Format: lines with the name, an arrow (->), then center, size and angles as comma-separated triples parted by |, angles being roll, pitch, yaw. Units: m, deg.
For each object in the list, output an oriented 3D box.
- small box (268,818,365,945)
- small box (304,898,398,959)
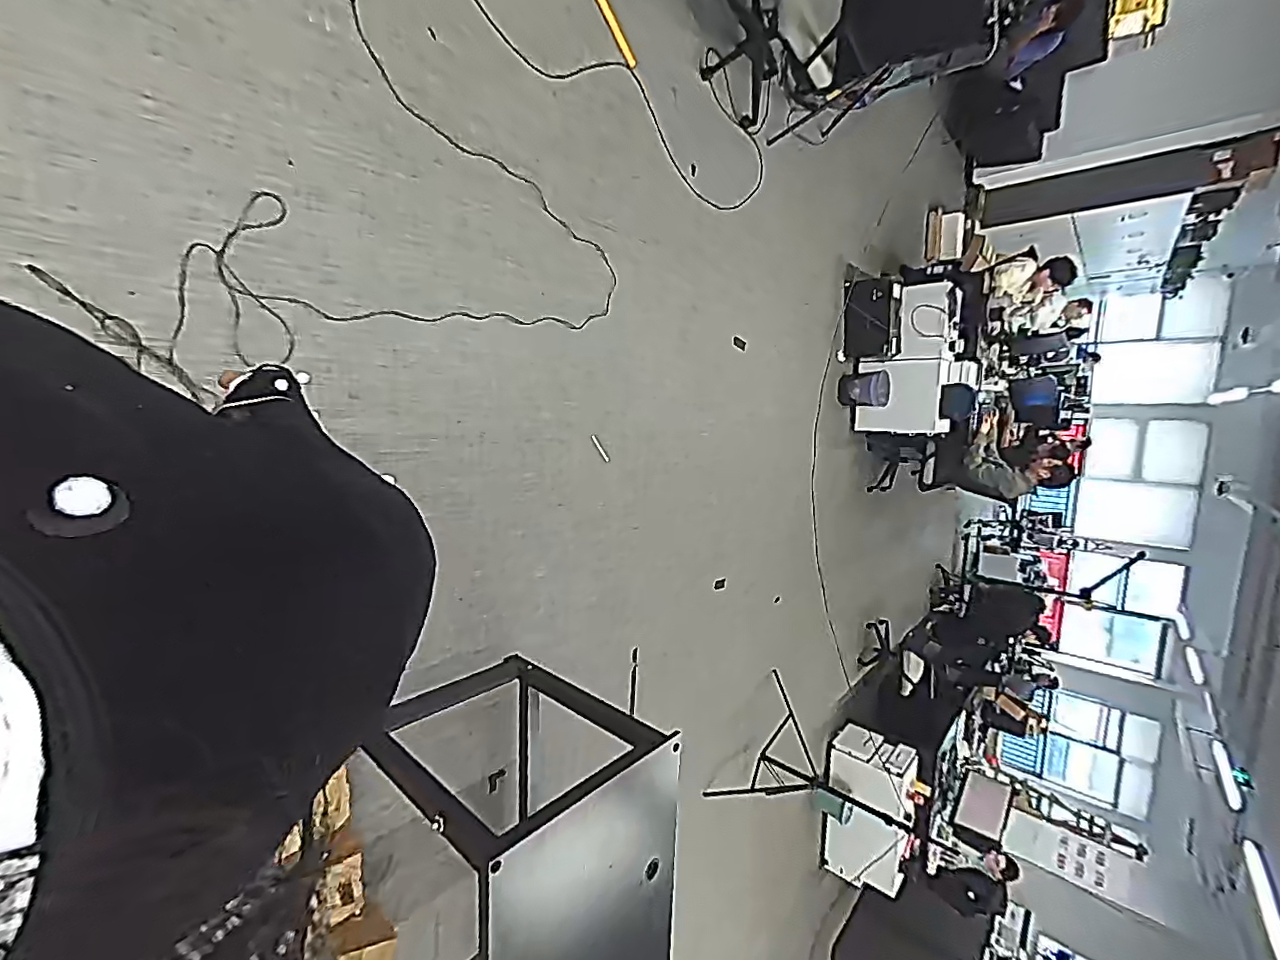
small box -> -0.852, 1.042, 1.426 | 0.179, 0.176, 0.168 | -7, 101, -47
small box -> -0.817, 1.329, 1.513 | 0.168, 0.176, 0.179 | 25, 76, -49
